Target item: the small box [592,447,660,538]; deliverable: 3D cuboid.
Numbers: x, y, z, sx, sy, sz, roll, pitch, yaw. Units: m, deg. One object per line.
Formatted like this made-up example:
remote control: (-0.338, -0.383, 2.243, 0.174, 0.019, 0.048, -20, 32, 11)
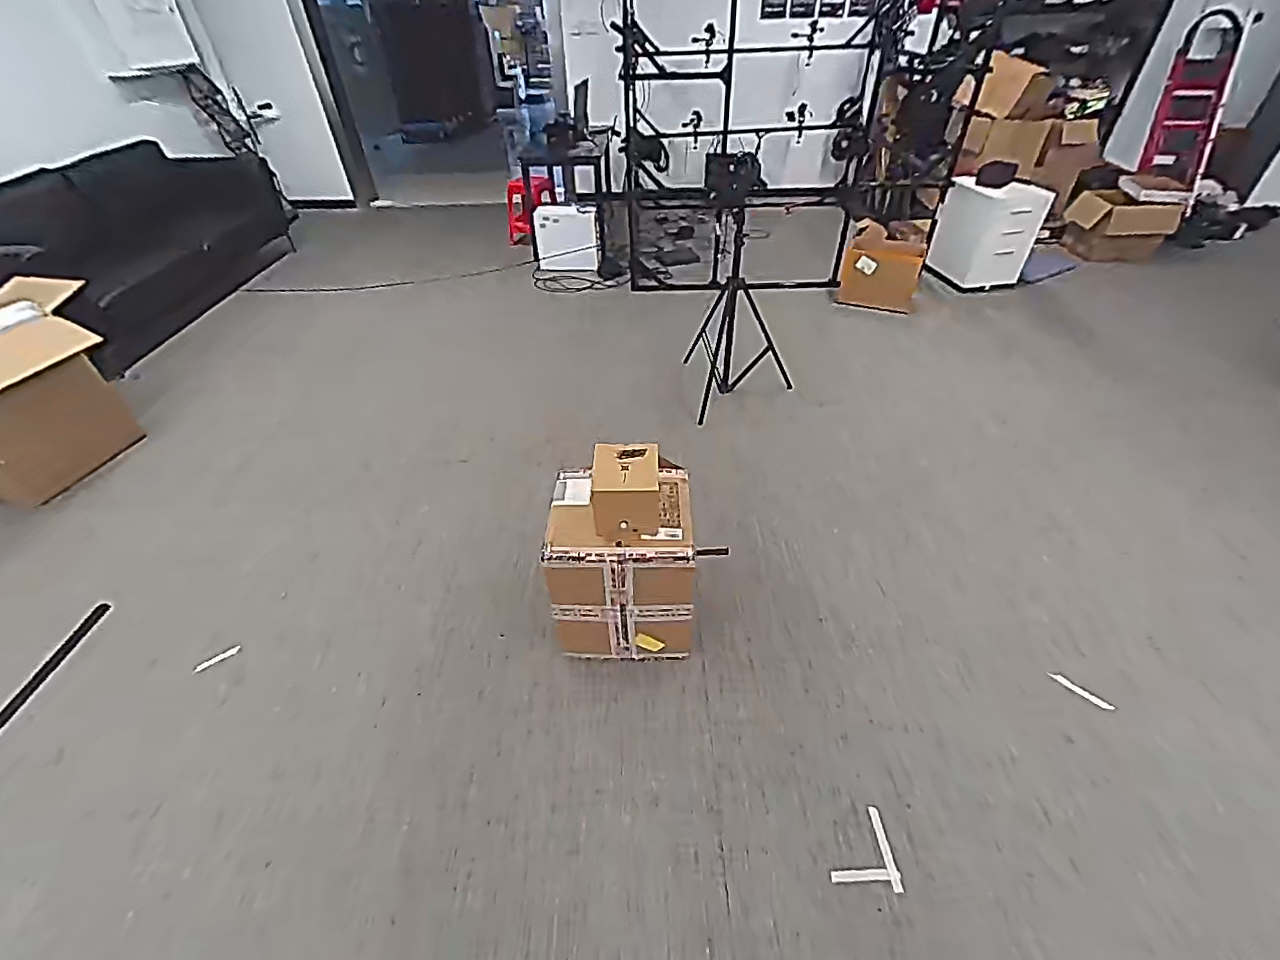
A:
small box: (-0.033, 0.031, 1.412, 0.168, 0.176, 0.179, -1, 44, 1)
